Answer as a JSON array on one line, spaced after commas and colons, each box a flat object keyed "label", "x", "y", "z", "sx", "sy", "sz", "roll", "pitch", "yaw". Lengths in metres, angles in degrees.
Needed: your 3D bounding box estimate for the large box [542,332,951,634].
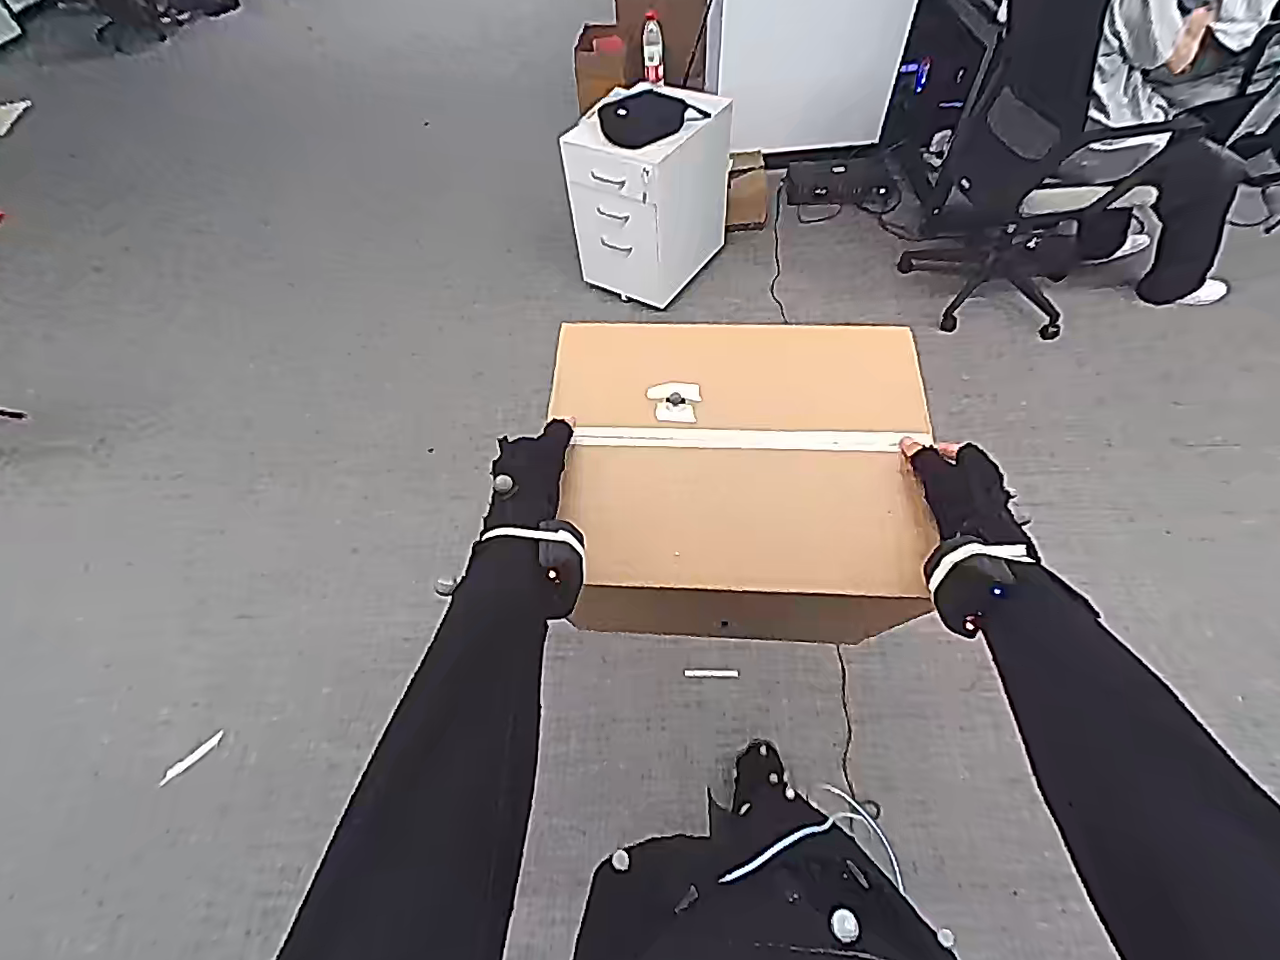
[{"label": "large box", "x": 0.116, "y": 0.025, "z": 0.721, "sx": 0.408, "sy": 0.320, "sz": 0.320, "roll": 1, "pitch": 65, "yaw": 4}]
